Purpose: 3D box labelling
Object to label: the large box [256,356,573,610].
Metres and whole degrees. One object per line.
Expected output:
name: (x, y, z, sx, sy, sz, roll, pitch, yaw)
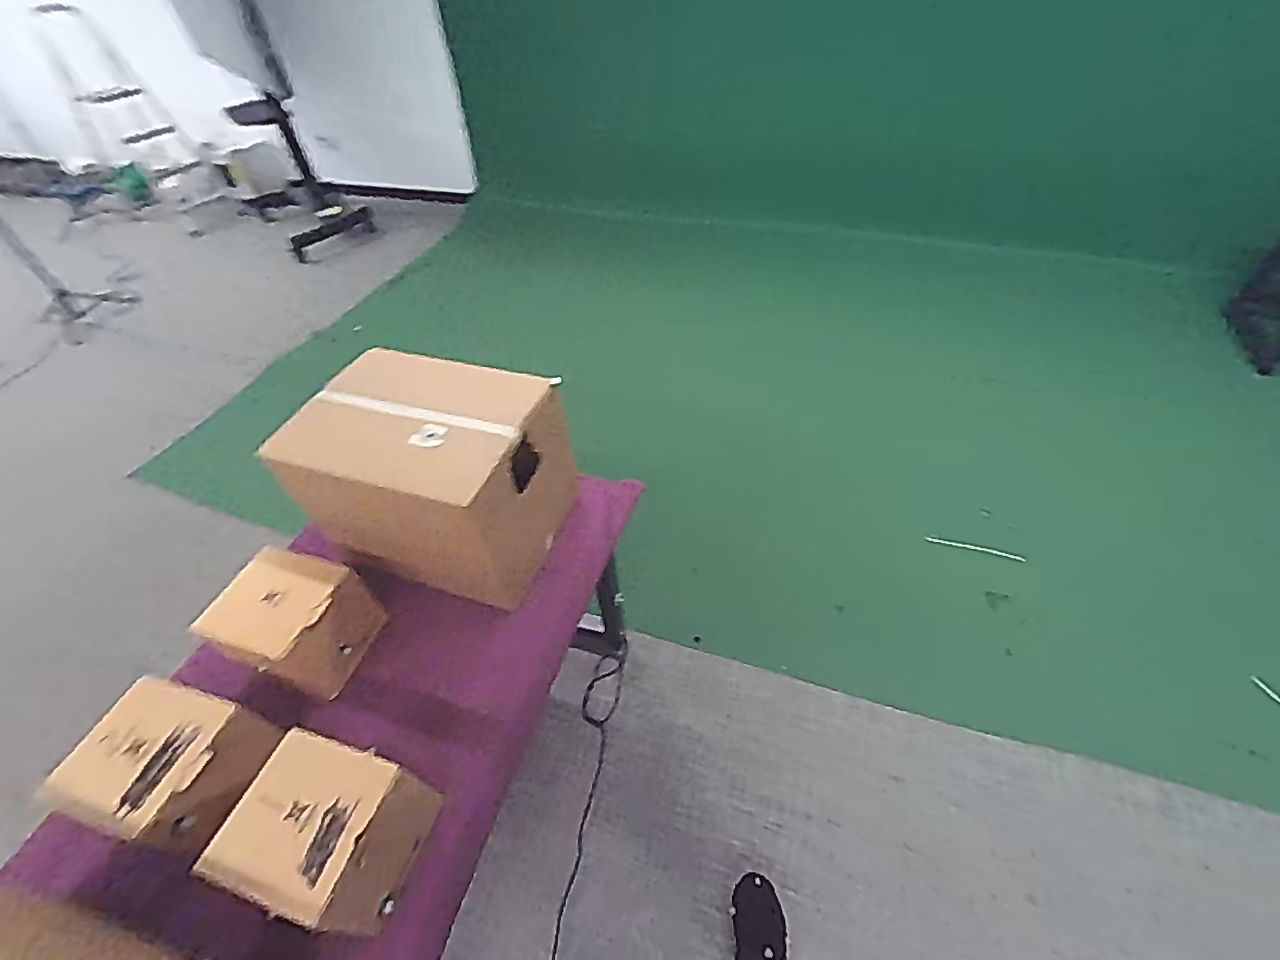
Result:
large box: (-0.381, 0.001, 1.026, 0.408, 0.320, 0.320, 12, 50, 13)
